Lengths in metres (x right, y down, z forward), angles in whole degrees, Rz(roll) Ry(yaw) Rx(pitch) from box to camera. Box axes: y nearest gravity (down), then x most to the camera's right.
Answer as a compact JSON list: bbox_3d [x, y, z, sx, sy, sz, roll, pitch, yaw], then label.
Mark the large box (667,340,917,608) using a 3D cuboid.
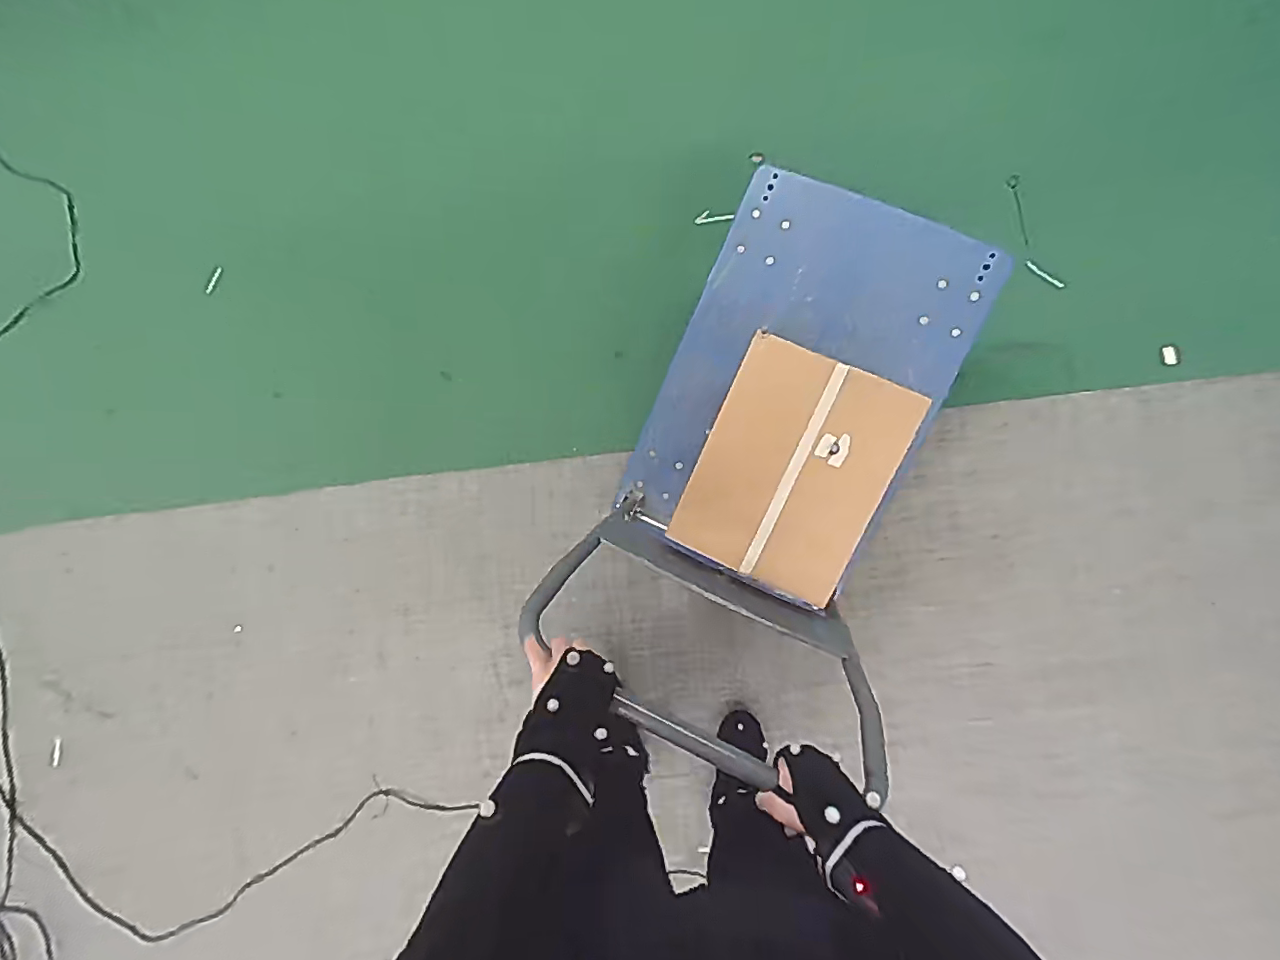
[{"bbox_3d":[0.284,-0.017,1.103,0.320,0.320,0.408,24,98,7],"label":"large box"}]
